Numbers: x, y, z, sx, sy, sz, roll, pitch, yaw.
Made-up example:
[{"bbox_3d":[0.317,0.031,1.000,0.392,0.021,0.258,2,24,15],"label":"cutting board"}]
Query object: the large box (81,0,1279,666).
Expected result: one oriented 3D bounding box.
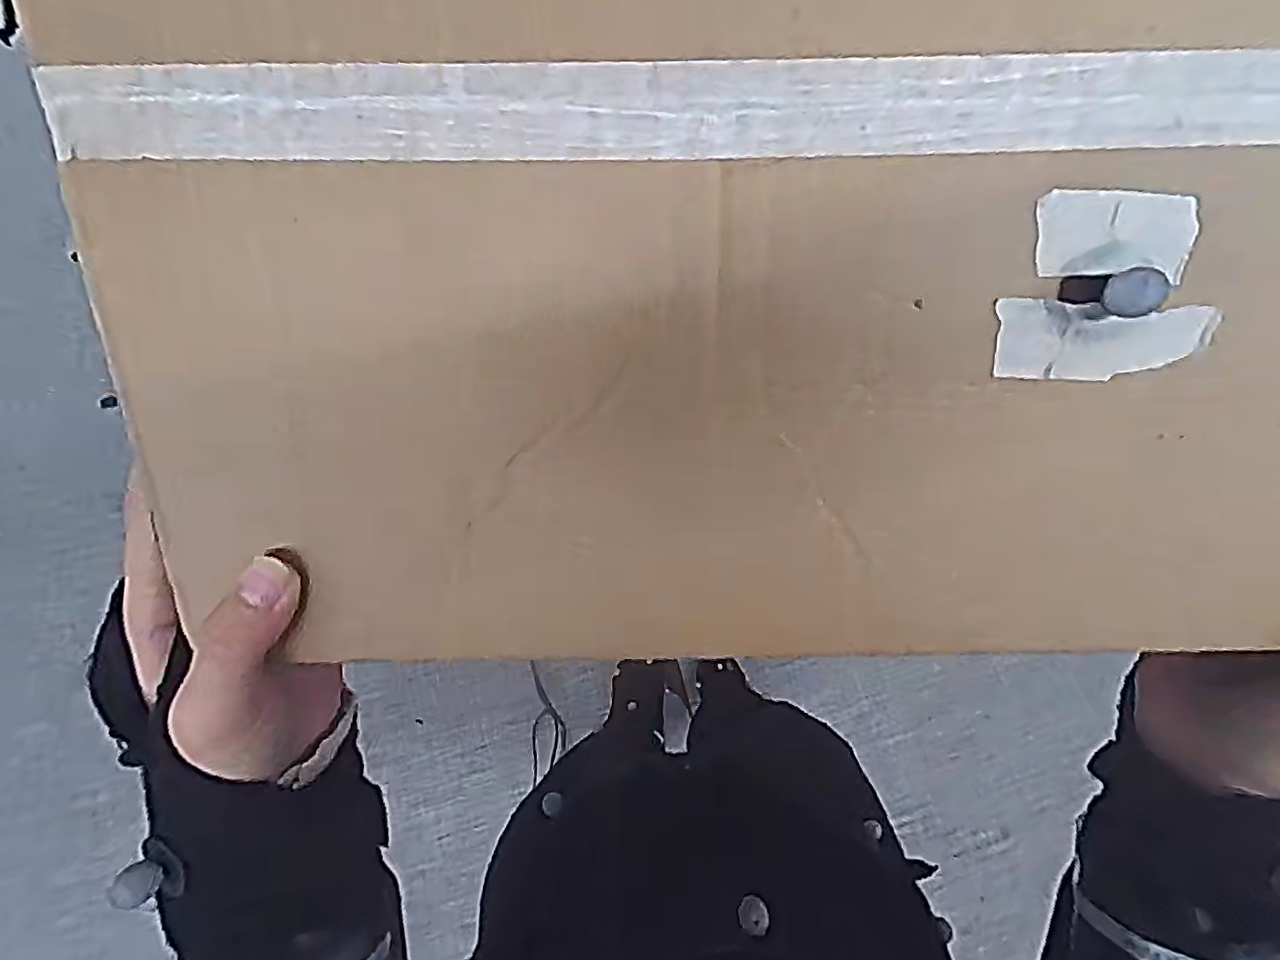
[{"bbox_3d":[0.050,-0.128,0.295,0.408,0.320,0.320,-2,105,-1],"label":"large box"}]
